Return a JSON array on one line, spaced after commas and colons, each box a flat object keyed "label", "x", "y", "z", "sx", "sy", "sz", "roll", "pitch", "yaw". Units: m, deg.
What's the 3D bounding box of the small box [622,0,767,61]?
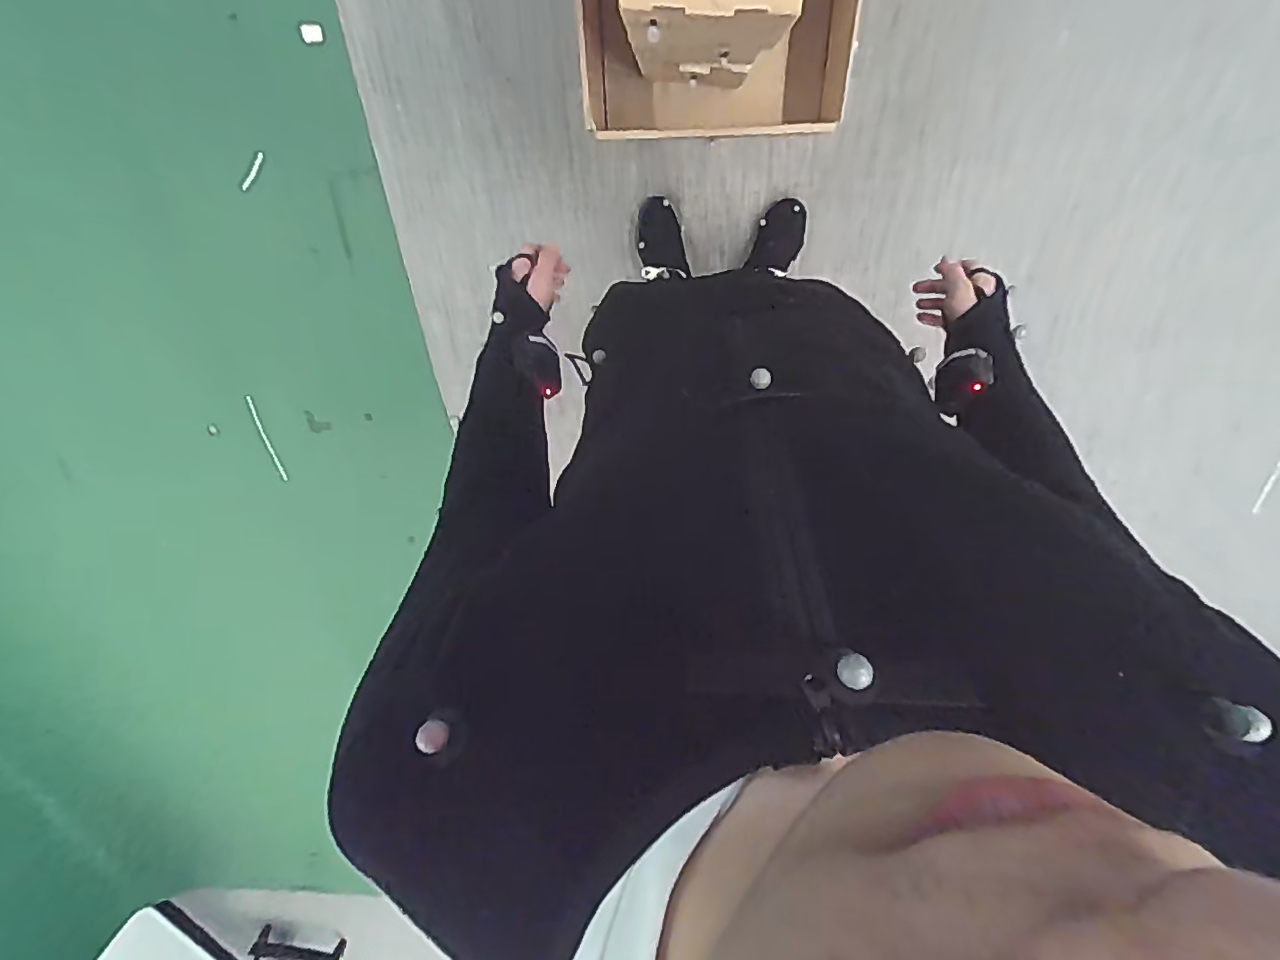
[{"label": "small box", "x": 0.070, "y": -0.628, "z": 0.652, "sx": 0.168, "sy": 0.176, "sz": 0.179, "roll": 3, "pitch": 120, "yaw": 1}]
